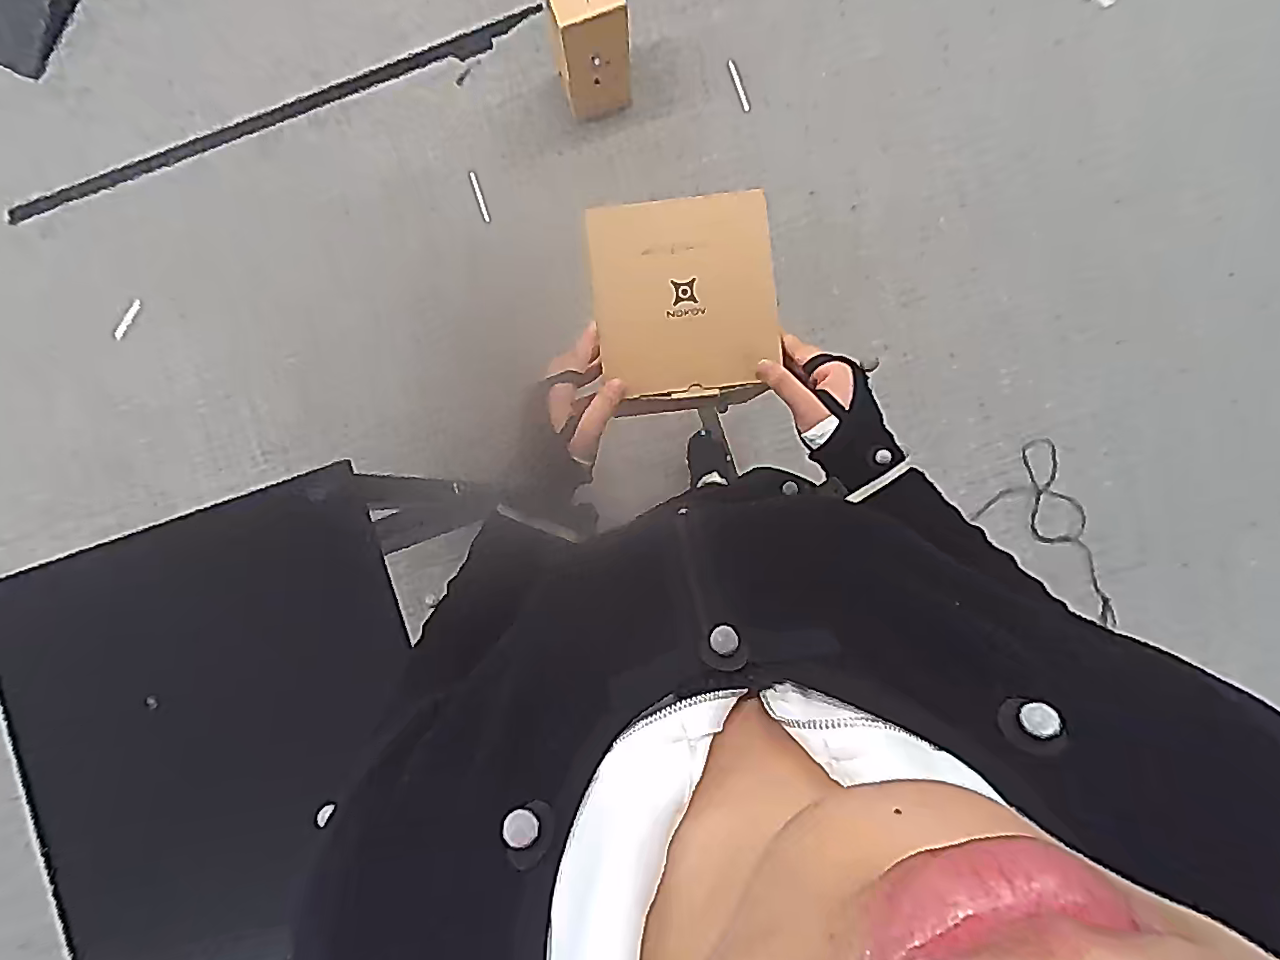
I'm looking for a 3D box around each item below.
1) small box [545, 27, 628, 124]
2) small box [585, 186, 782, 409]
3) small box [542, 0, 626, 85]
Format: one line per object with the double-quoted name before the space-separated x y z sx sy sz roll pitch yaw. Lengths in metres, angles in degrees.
"small box" -0.139 -1.114 1.469 0.179 0.176 0.168 -19 88 0
"small box" 0.039 -0.172 0.567 0.168 0.176 0.179 -7 91 -1
"small box" -0.137 -1.114 1.304 0.168 0.176 0.179 -19 89 1
